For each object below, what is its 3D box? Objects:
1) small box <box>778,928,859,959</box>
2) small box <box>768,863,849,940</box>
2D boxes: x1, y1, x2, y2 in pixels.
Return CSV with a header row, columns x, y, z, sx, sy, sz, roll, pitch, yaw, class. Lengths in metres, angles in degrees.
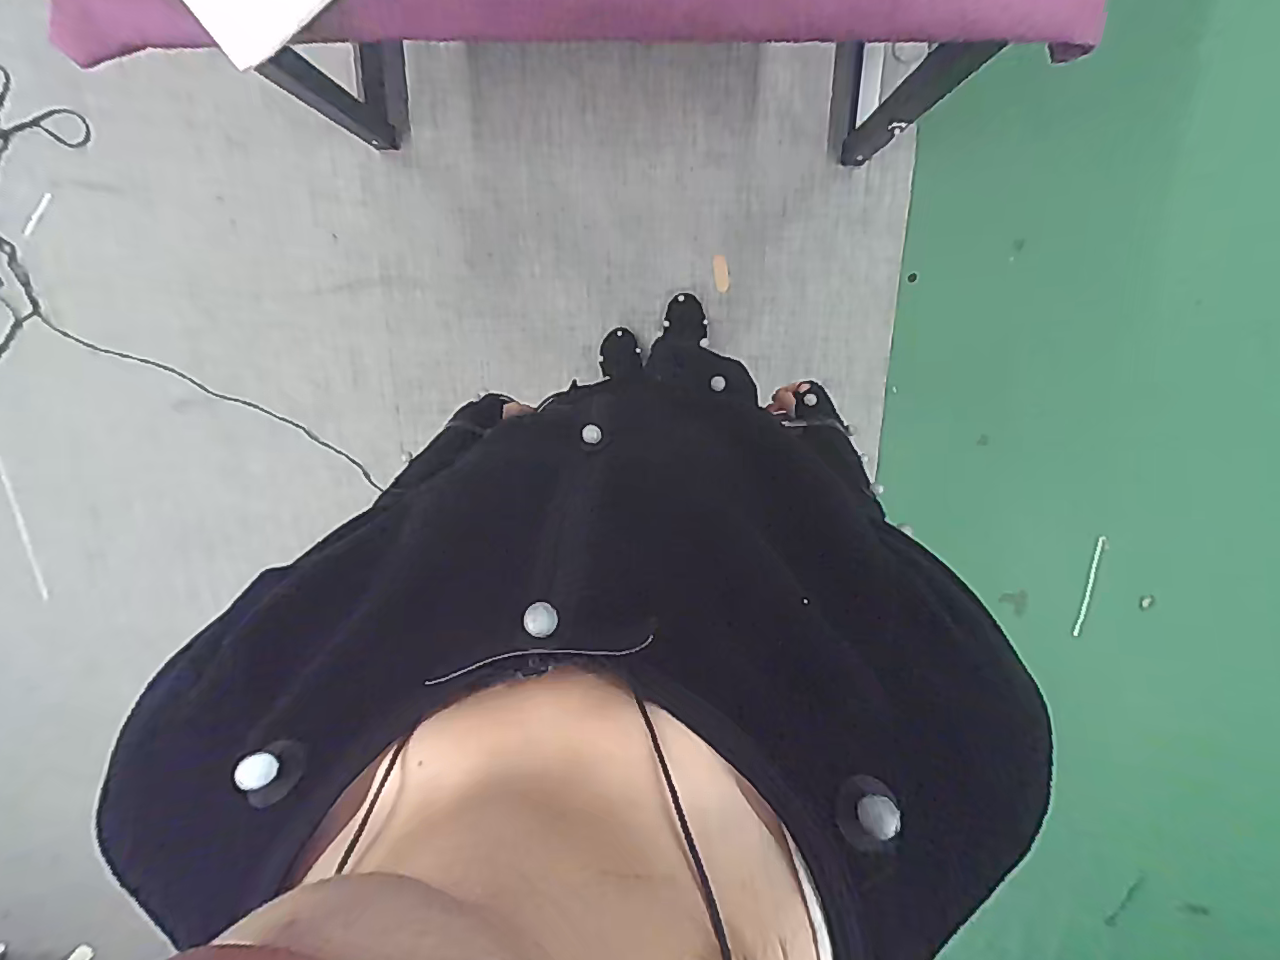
x,y,z,sx,sy,sz,roll,pitch,yaw,class
0.431,1.188,1.258,0.179,0.176,0.168,-6,104,4,small box
0.438,1.139,1.413,0.168,0.176,0.179,-7,104,4,small box
